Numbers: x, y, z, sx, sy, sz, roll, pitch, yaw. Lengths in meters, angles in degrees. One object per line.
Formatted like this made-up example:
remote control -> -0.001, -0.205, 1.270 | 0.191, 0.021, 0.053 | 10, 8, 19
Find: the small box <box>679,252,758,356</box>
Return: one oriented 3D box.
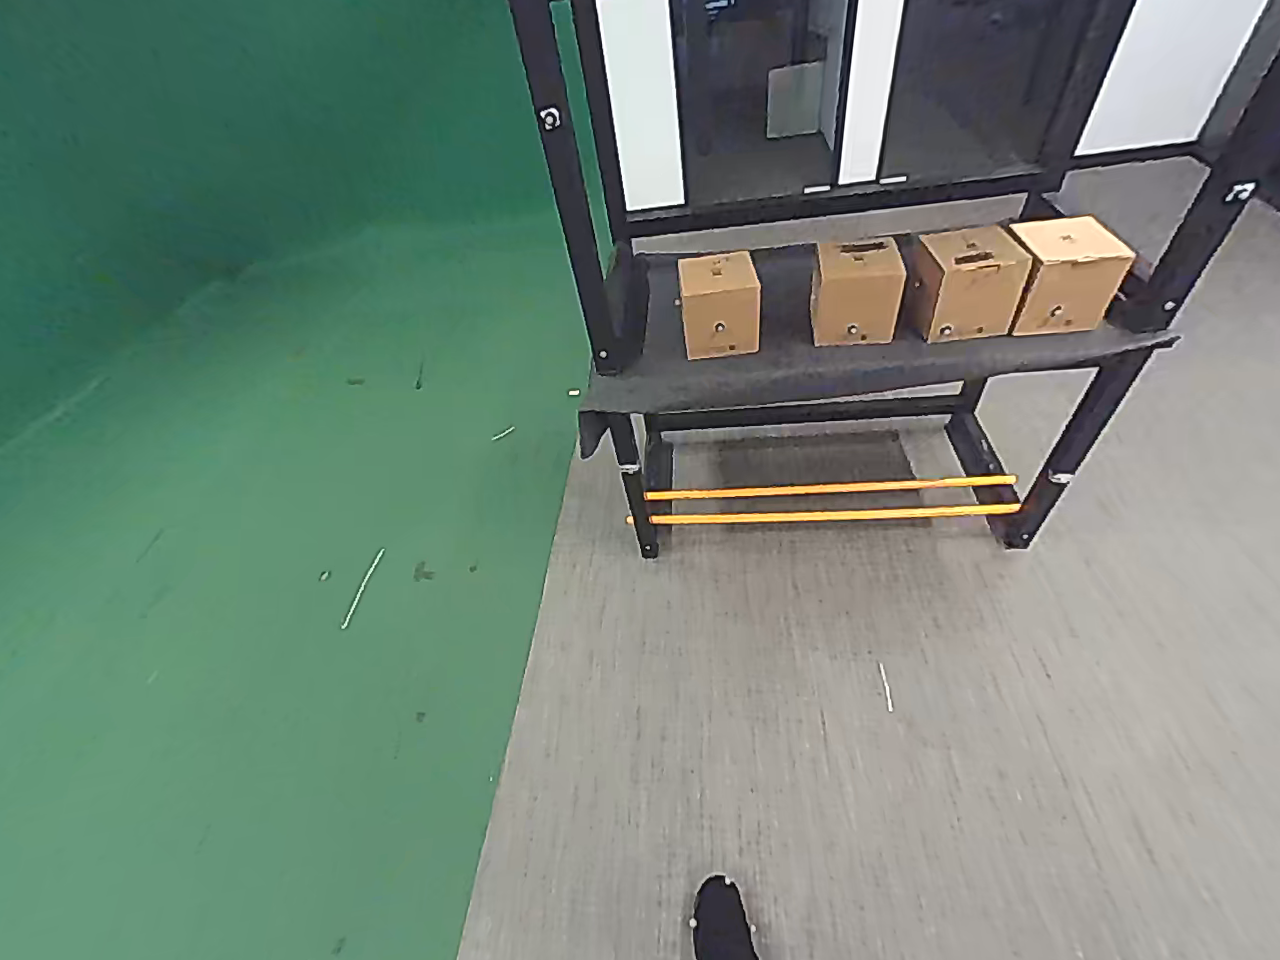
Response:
small box -> 0.182, -0.403, 1.261 | 0.168, 0.176, 0.179 | -5, 45, 5
